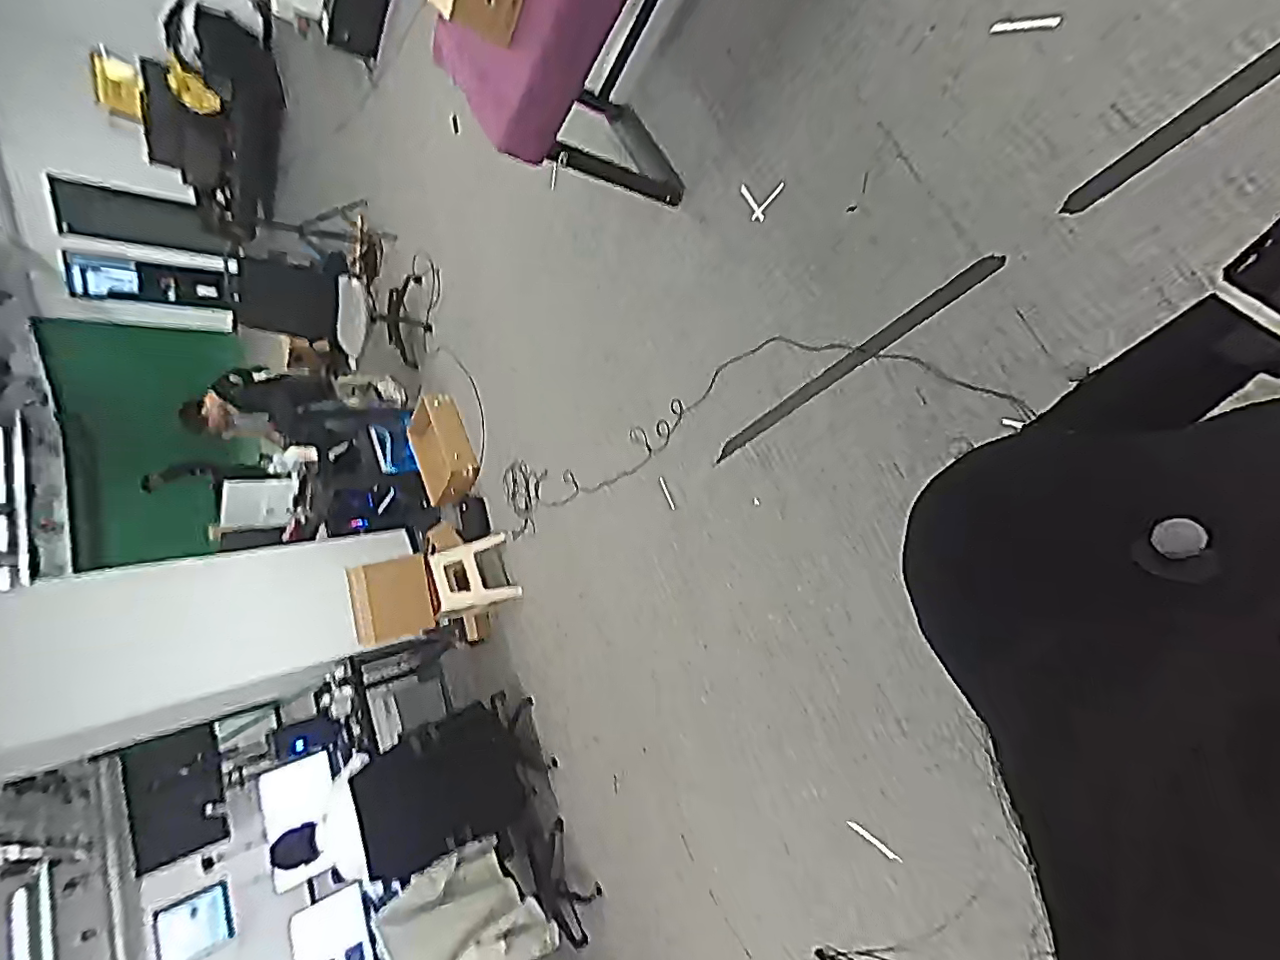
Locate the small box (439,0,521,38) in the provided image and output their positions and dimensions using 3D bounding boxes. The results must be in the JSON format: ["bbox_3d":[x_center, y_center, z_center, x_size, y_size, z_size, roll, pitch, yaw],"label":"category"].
[{"bbox_3d":[-0.404,-1.256,1.351,0.179,0.176,0.168,57,131,24],"label":"small box"}]
